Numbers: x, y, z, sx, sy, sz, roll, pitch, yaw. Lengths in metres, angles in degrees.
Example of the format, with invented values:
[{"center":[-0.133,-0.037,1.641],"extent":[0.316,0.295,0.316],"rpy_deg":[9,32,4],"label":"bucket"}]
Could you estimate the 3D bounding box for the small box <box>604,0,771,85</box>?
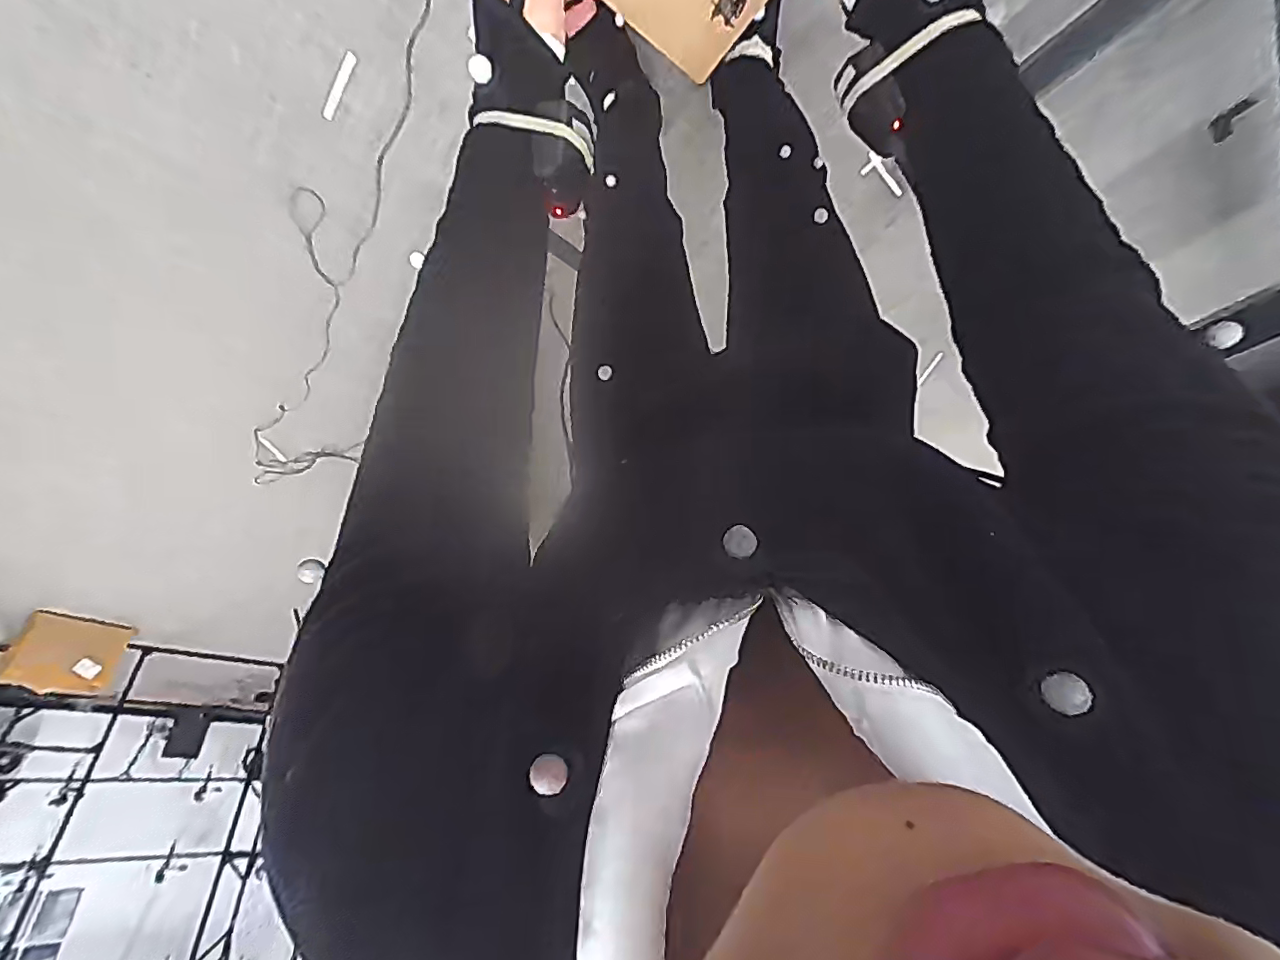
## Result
[{"center":[0.032,-0.469,0.410],"extent":[0.179,0.176,0.168],"rpy_deg":[17,148,-35],"label":"small box"}]
